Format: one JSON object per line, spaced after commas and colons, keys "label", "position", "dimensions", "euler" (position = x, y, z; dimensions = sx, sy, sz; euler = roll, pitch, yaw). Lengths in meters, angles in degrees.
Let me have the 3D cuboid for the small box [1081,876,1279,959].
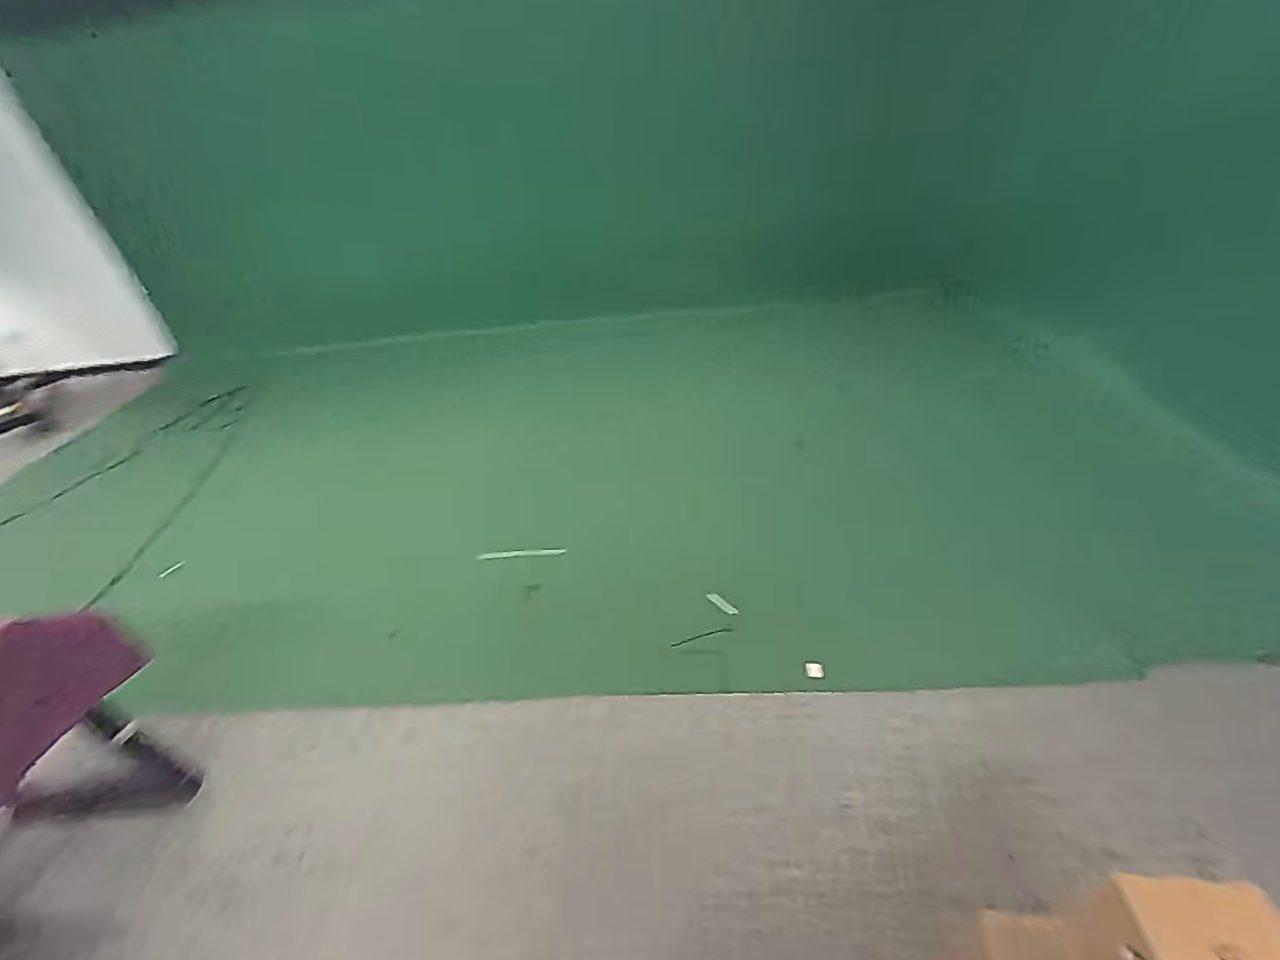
{"label": "small box", "position": [0.702, 0.627, 0.668], "dimensions": [0.168, 0.176, 0.179], "euler": [-1, 37, 9]}
